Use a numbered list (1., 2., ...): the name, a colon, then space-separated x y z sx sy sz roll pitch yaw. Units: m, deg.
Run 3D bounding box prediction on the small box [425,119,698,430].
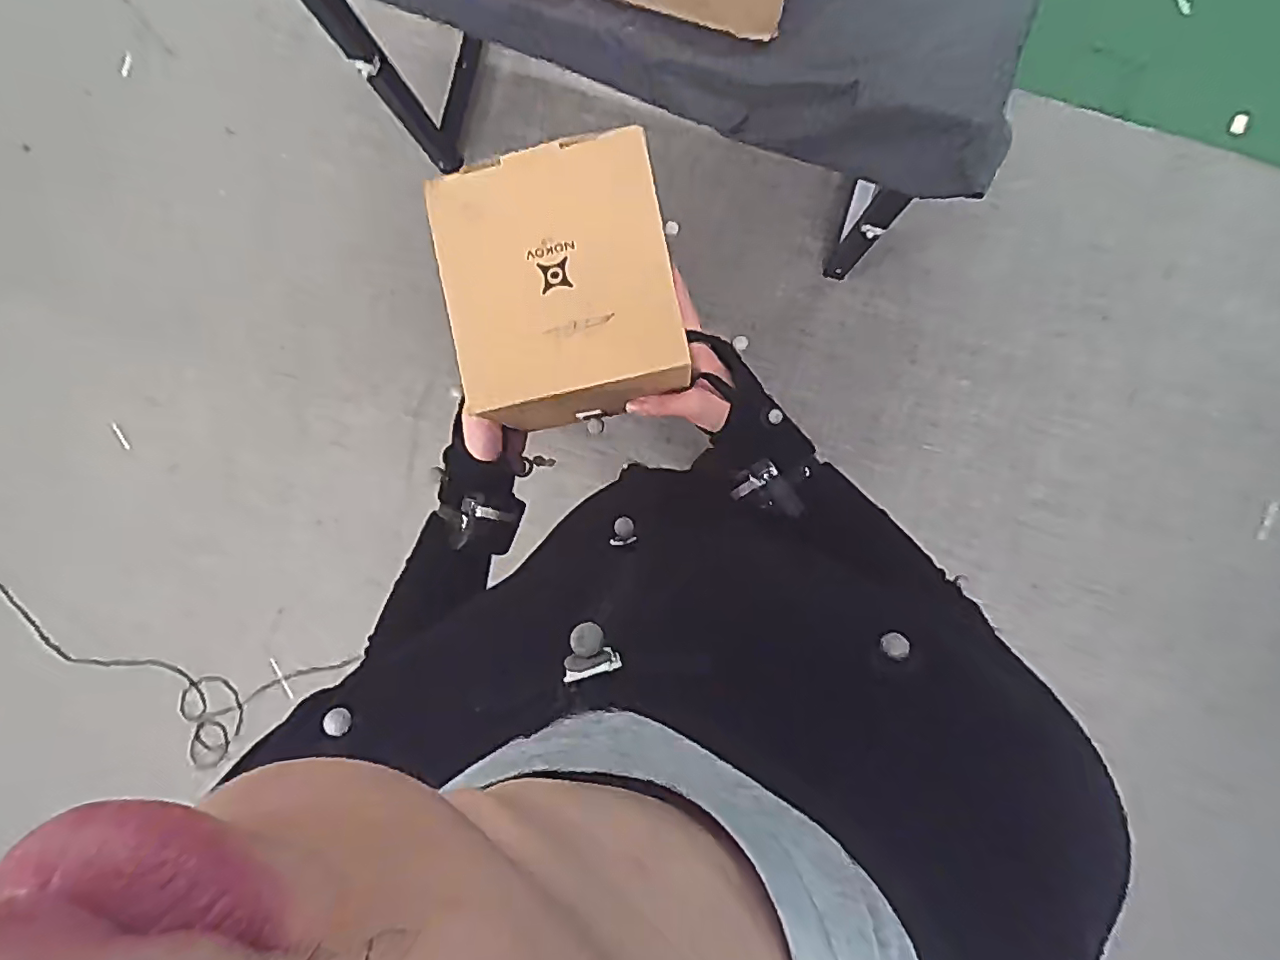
1. small box: -0.051 -0.150 0.459 0.168 0.176 0.179 -14 89 5
